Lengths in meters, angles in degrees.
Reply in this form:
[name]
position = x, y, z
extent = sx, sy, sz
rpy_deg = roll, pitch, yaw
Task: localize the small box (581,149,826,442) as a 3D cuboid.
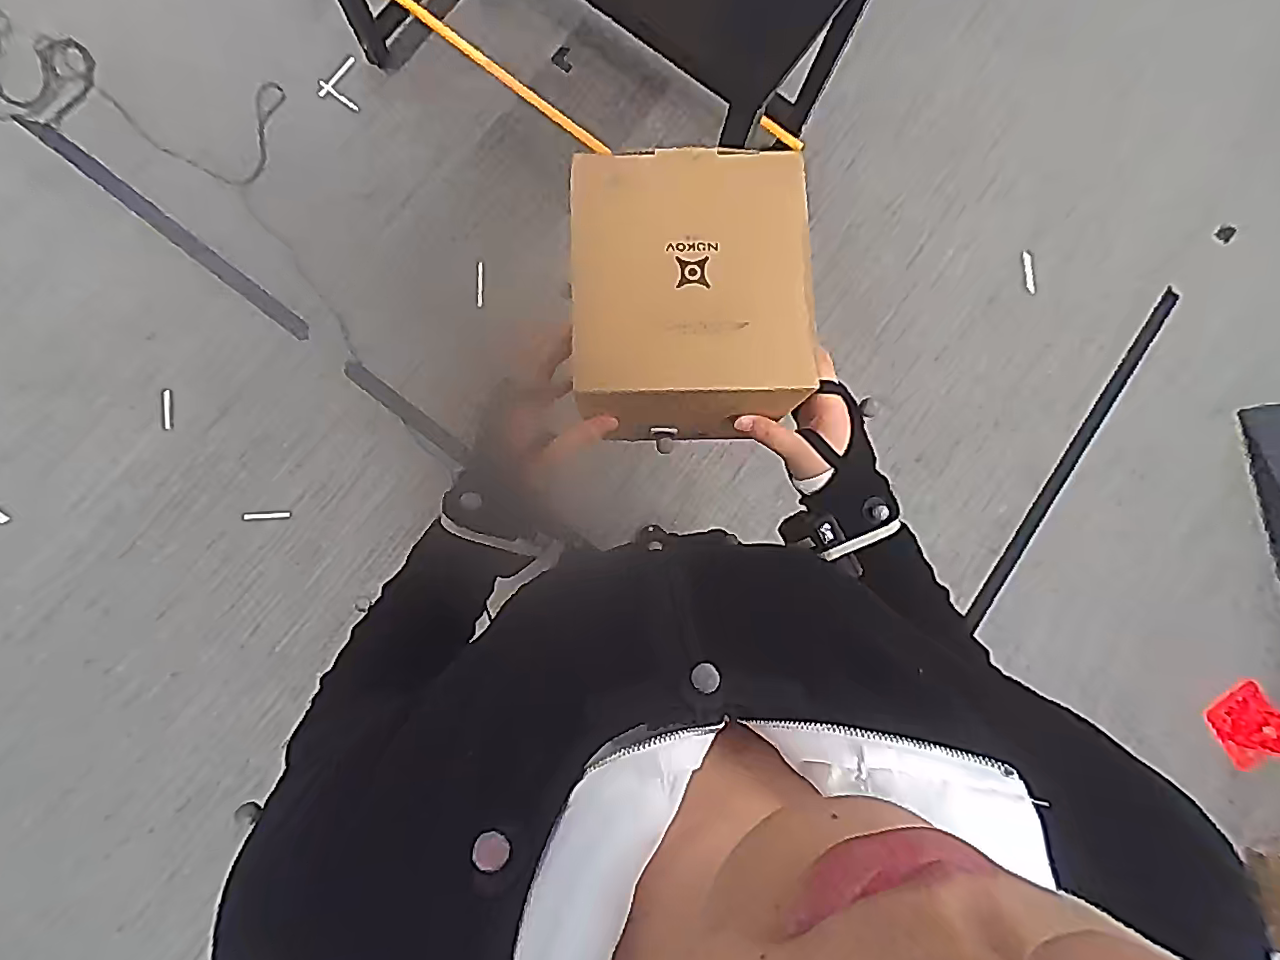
[small box]
position = 0.038, -0.134, 0.446
extent = 0.168, 0.176, 0.179
rpy_deg = -1, 83, -2
